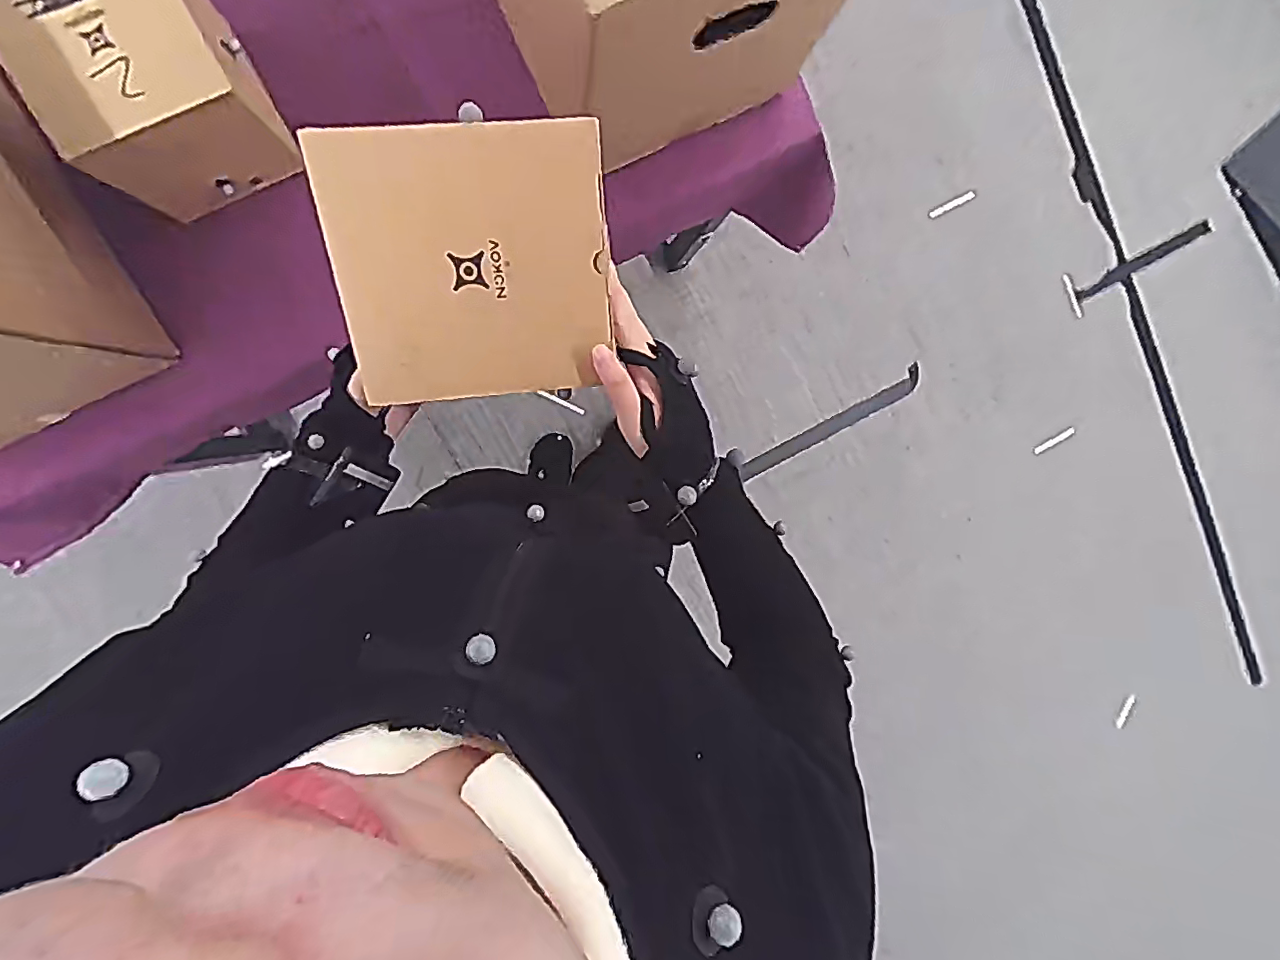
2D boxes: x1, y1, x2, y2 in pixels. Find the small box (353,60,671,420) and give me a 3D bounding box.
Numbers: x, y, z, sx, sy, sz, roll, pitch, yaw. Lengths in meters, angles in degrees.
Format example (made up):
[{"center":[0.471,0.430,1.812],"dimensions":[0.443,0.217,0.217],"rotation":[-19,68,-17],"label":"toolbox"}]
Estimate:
[{"center":[-0.095,-0.153,0.390],"dimensions":[0.168,0.176,0.179],"rotation":[-16,97,-24],"label":"small box"}]
